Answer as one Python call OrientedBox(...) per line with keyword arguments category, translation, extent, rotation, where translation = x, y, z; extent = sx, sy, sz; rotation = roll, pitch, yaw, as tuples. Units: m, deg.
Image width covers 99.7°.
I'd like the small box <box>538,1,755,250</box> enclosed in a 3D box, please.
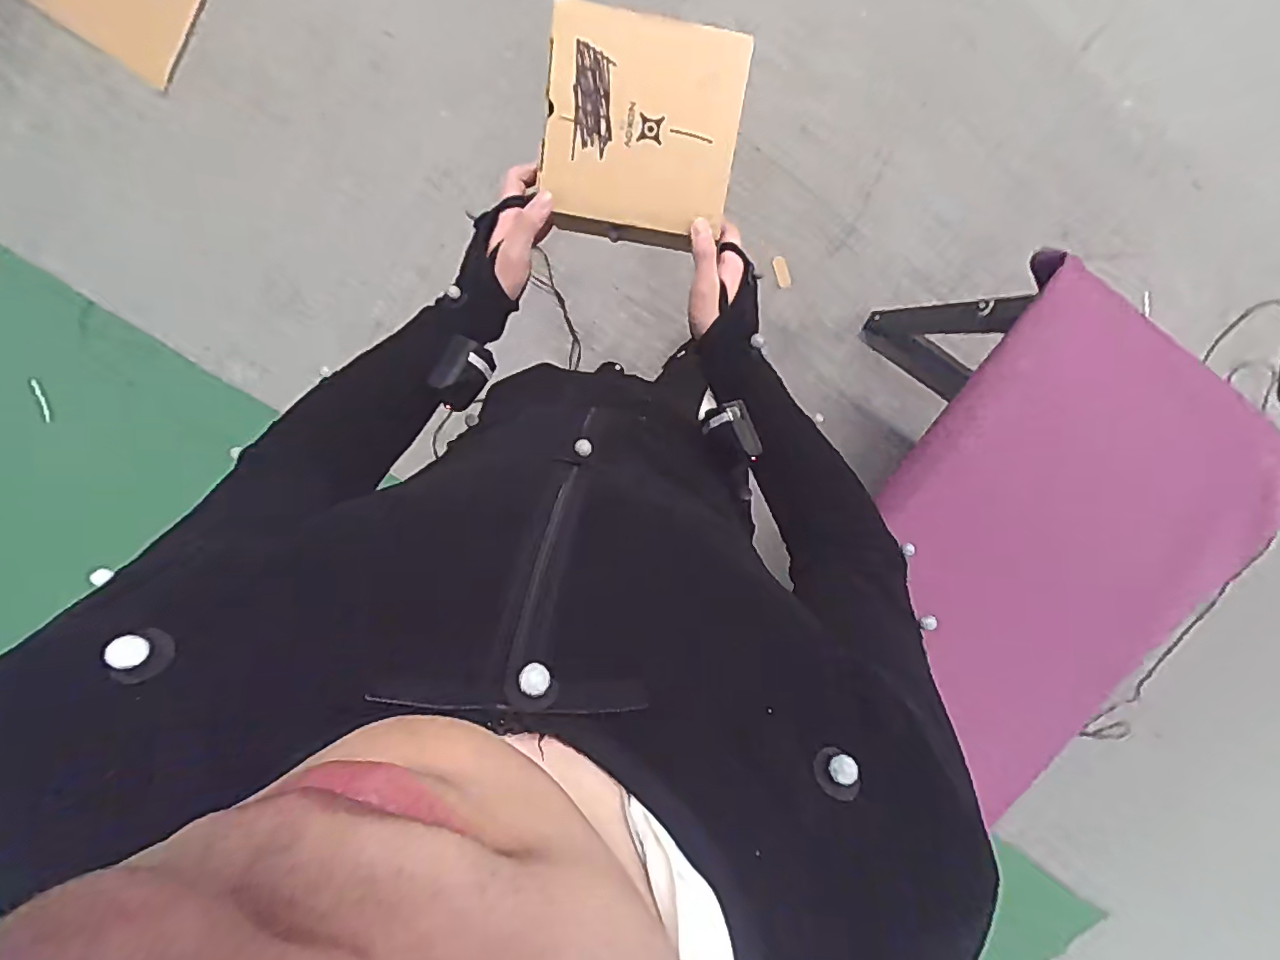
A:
OrientedBox(category="small box", translation=(0.000, -0.342, 0.560), extent=(0.179, 0.176, 0.168), rotation=(8, 109, -4))
